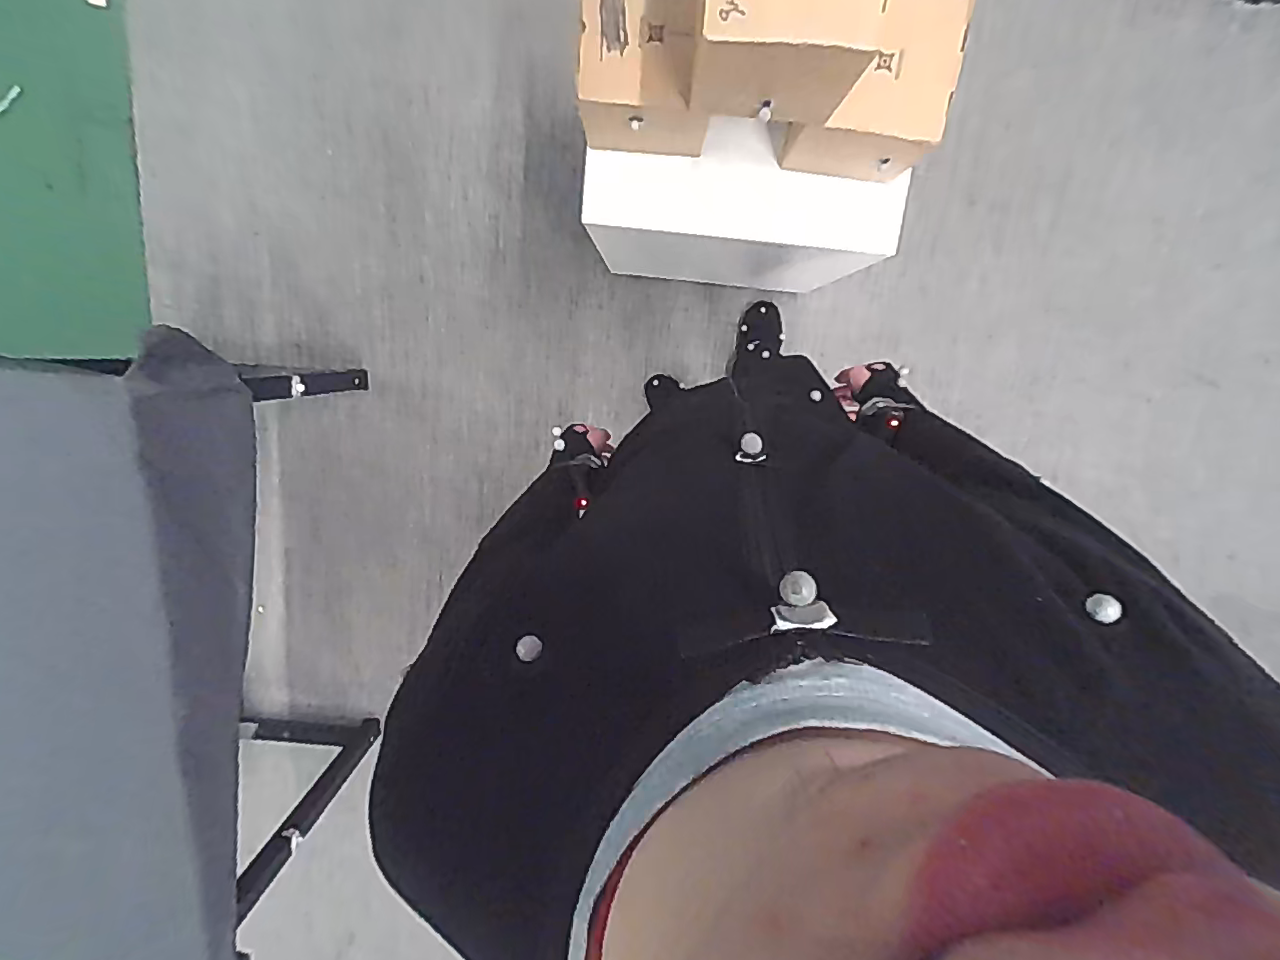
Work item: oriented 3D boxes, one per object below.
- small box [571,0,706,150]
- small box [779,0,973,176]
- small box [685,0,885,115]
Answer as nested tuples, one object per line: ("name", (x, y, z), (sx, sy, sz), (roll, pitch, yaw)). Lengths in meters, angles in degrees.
("small box", (0.008, -0.571, 0.735), (0.179, 0.176, 0.168), (4, 104, -1))
("small box", (0.304, -0.534, 0.736), (0.179, 0.176, 0.168), (8, 102, 2))
("small box", (0.148, -0.518, 0.577), (0.179, 0.176, 0.168), (4, 103, 0))
